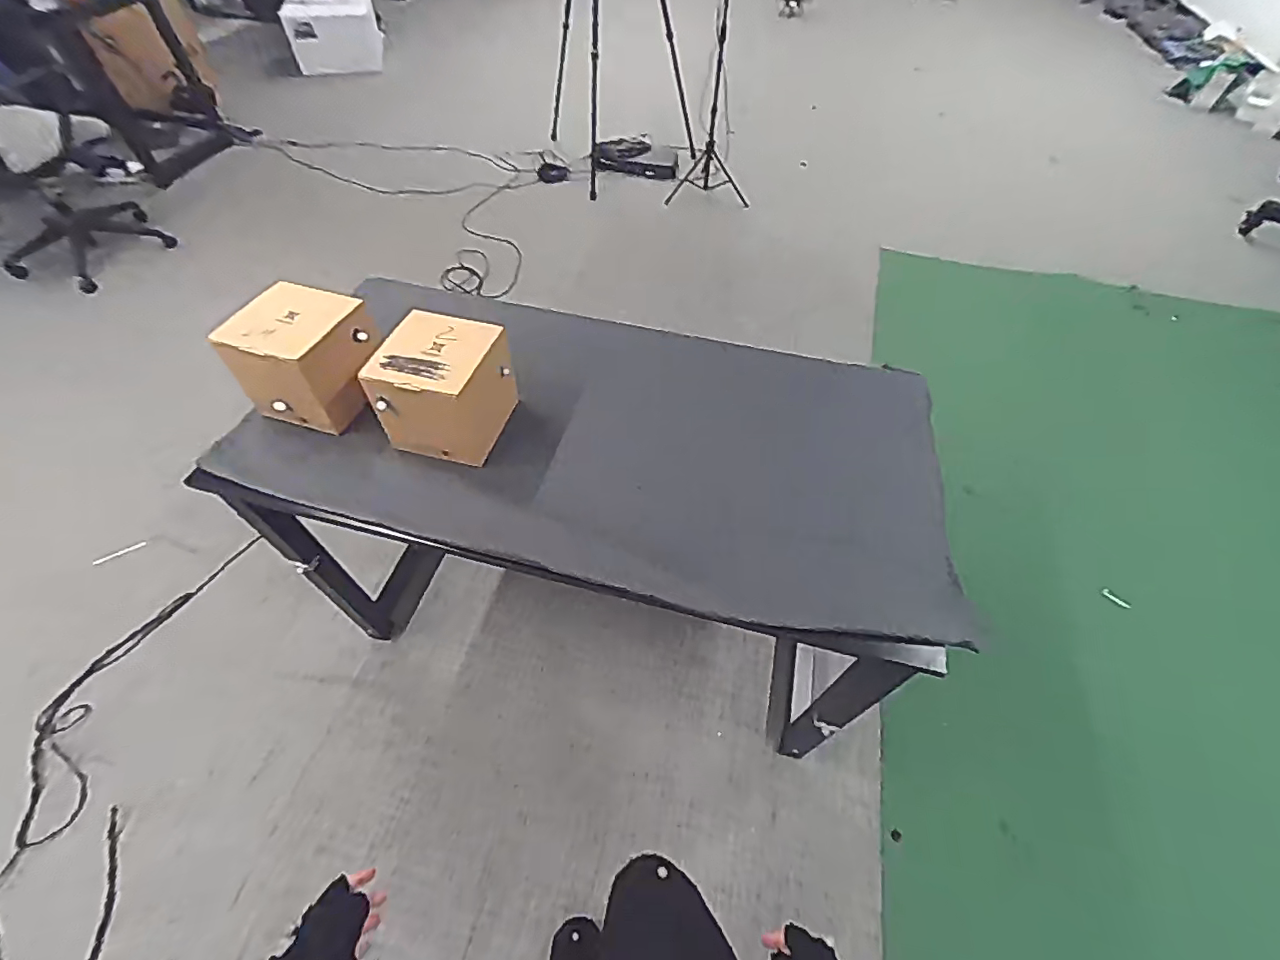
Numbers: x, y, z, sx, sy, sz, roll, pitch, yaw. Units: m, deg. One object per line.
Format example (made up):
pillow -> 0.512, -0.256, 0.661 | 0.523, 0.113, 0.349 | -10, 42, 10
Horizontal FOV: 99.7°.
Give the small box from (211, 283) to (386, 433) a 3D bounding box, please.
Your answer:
small box -> -0.577, -0.212, 0.949 | 0.168, 0.176, 0.179 | 15, 53, 9
